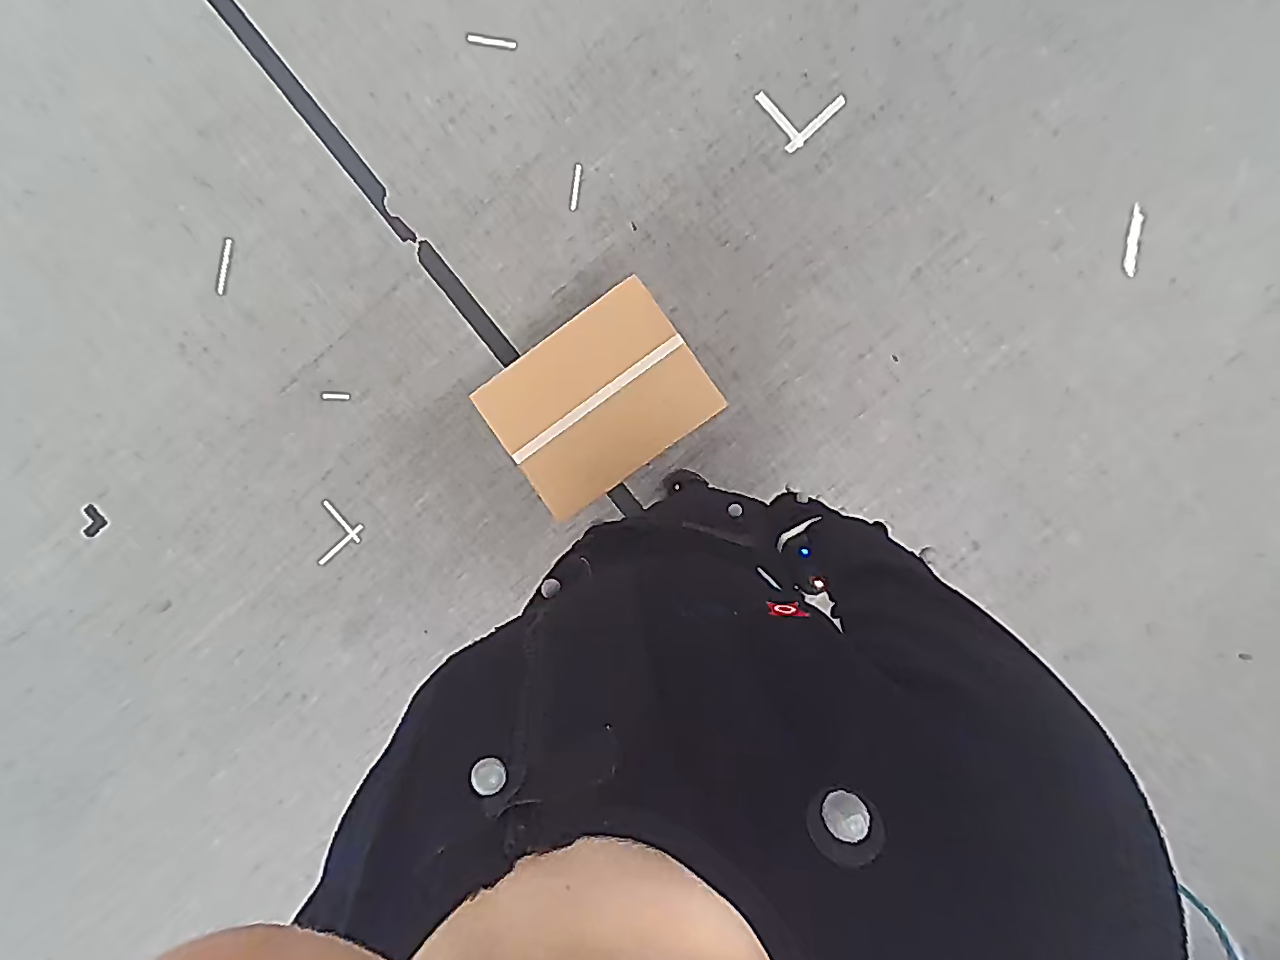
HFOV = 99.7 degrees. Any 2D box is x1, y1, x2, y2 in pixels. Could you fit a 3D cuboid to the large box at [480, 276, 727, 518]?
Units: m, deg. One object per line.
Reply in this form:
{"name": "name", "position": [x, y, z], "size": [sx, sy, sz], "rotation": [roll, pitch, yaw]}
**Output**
{"name": "large box", "position": [-0.069, -0.166, 1.210], "size": [0.408, 0.320, 0.320], "rotation": [-35, 92, 4]}
